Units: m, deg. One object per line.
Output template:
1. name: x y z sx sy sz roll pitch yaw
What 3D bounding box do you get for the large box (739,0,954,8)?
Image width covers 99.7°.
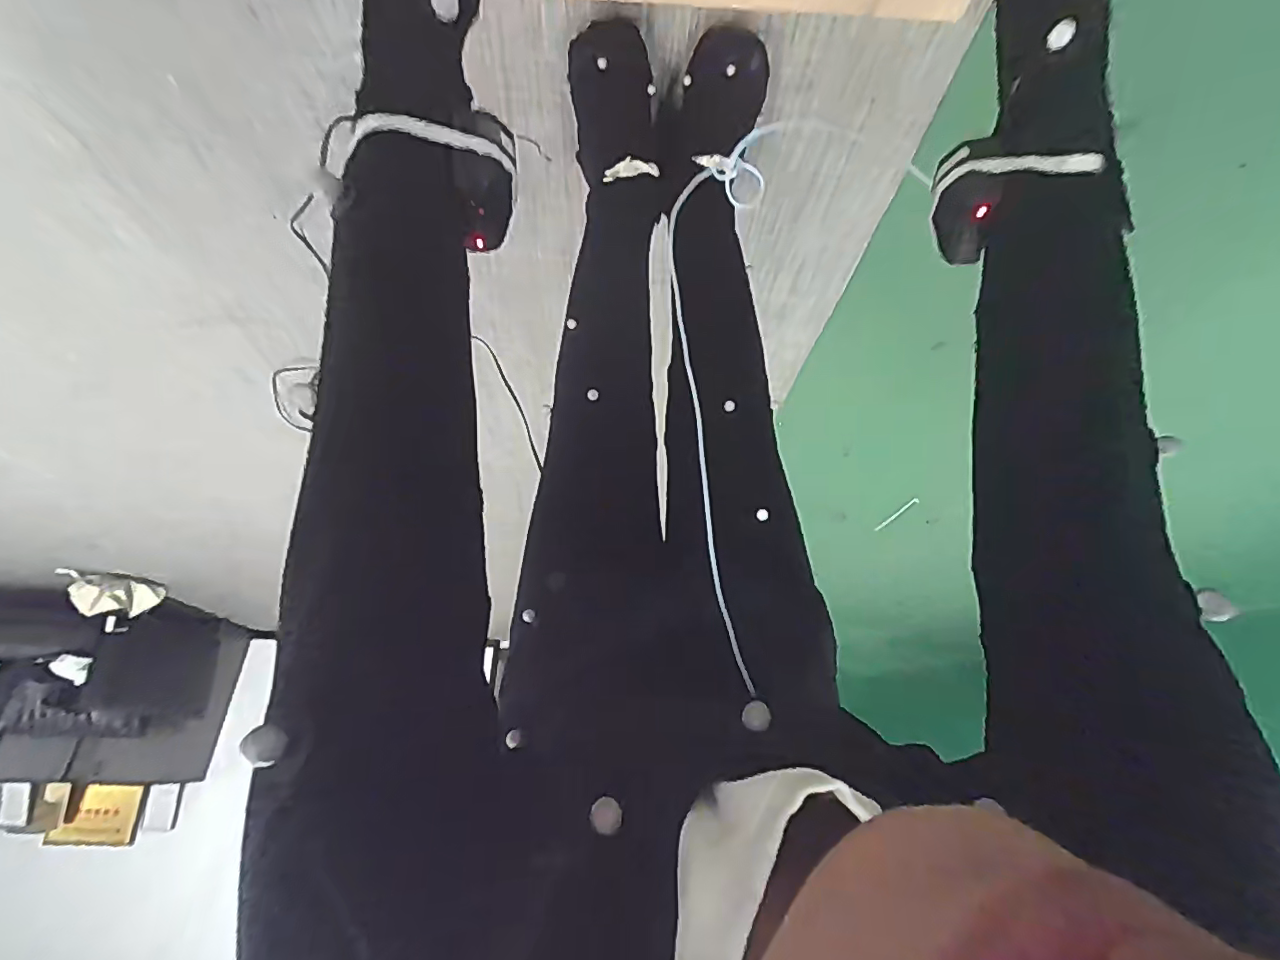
1. large box: 0.072 -0.606 0.391 0.408 0.320 0.320 0 153 -3
